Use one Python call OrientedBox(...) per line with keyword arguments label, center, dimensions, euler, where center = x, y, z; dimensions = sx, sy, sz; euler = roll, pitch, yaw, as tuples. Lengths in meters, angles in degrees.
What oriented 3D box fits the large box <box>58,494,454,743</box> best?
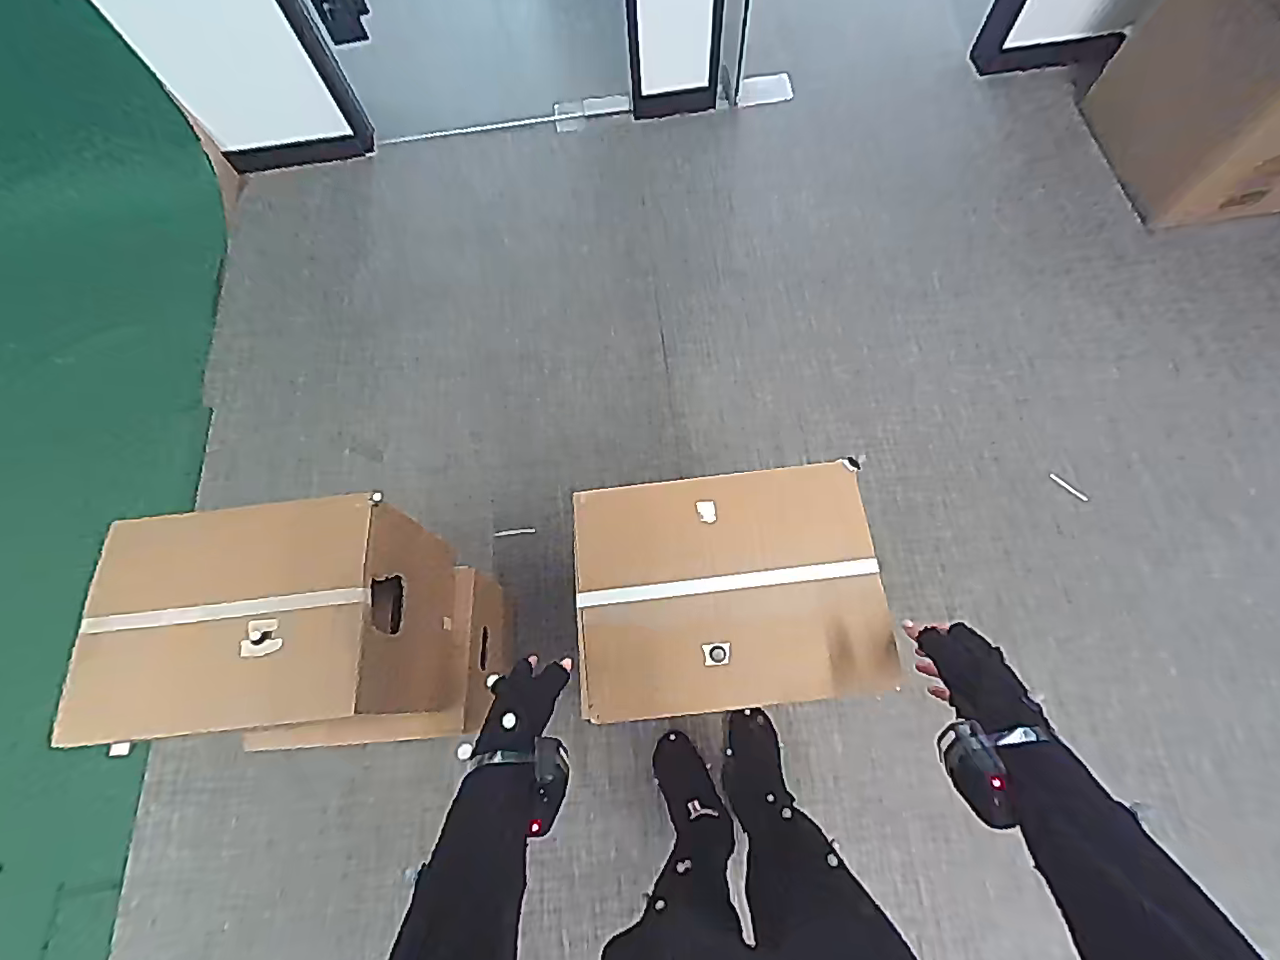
OrientedBox(label="large box", center=(-0.566, 0.241, 0.895), dimensions=(0.408, 0.320, 0.320), euler=(-6, 66, 1))
